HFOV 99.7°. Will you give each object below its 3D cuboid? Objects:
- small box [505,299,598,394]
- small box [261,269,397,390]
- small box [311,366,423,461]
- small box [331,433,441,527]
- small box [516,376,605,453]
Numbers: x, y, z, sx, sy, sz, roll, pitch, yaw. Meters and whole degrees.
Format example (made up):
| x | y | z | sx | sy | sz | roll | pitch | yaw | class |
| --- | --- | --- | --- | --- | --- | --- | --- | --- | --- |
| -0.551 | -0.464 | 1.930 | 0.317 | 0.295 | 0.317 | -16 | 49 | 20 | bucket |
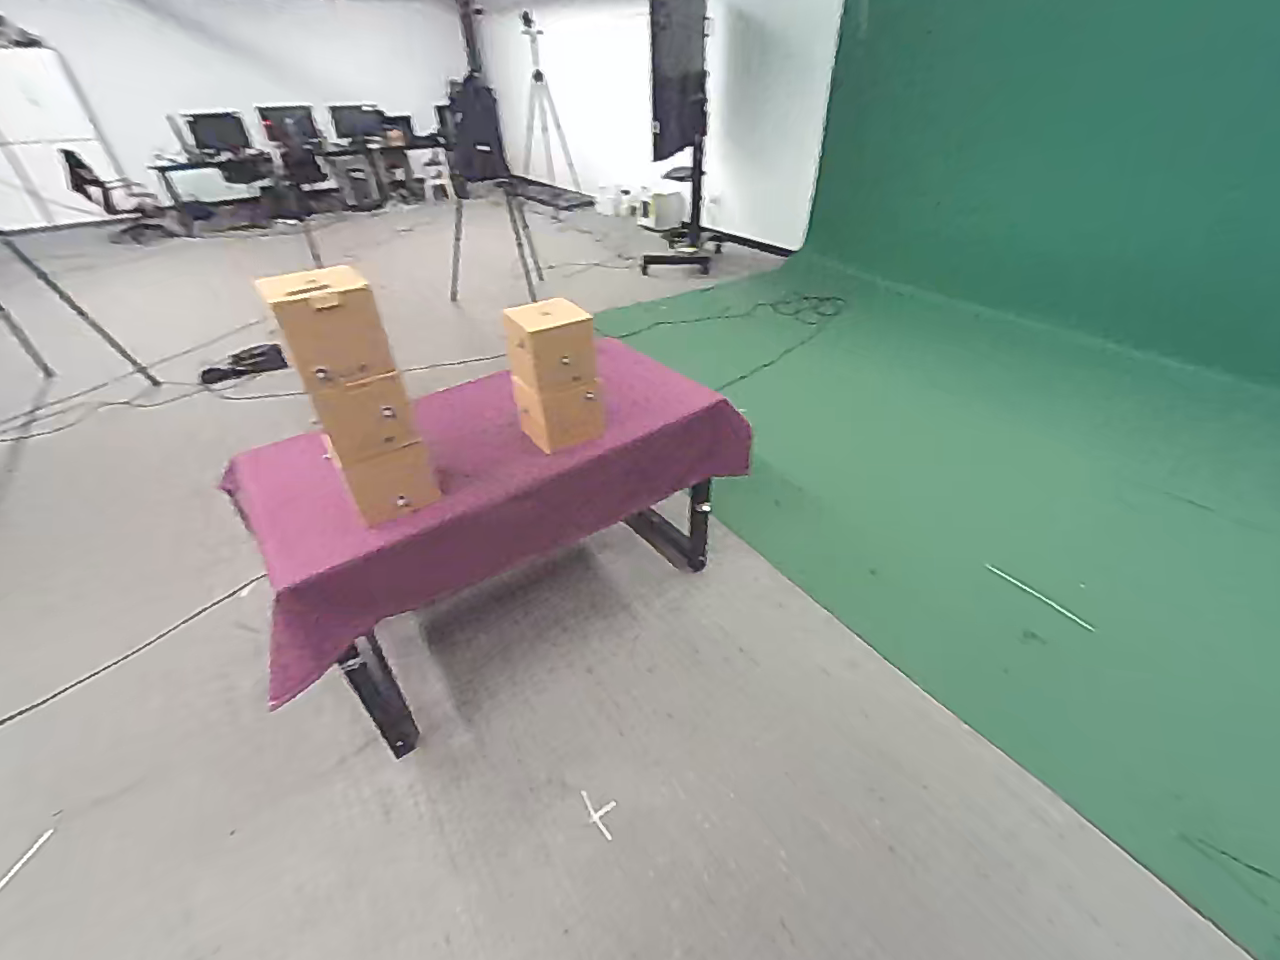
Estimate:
| x | y | z | sx | sy | sz | roll | pitch | yaw | class |
| --- | --- | --- | --- | --- | --- | --- | --- | --- | --- |
| -0.215 | -0.329 | 1.345 | 0.168 | 0.176 | 0.179 | -22 | 41 | -24 | small box |
| -0.592 | -0.288 | 1.041 | 0.168 | 0.176 | 0.179 | -25 | 41 | -28 | small box |
| -0.578 | -0.157 | 1.139 | 0.168 | 0.176 | 0.179 | -23 | 41 | -25 | small box |
| -0.570 | -0.023 | 1.233 | 0.179 | 0.176 | 0.168 | -24 | 42 | -27 | small box |
| -0.206 | -0.195 | 1.440 | 0.179 | 0.176 | 0.168 | -23 | 42 | -26 | small box |
